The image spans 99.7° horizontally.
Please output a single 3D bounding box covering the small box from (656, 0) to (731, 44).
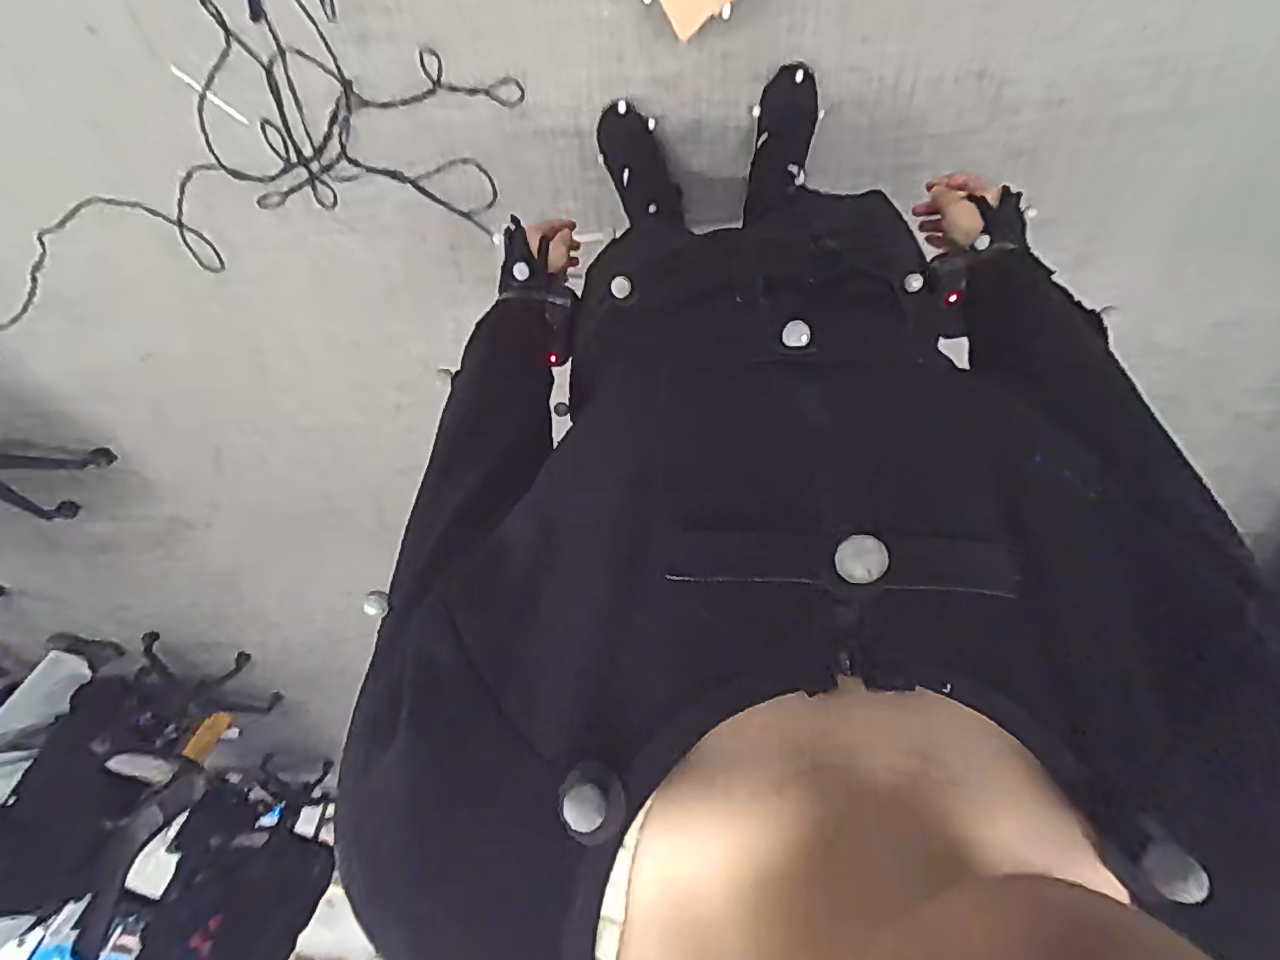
[{"bbox_3d":[0.082,-0.825,0.833,0.168,0.176,0.179,-30,122,25],"label":"small box"}]
